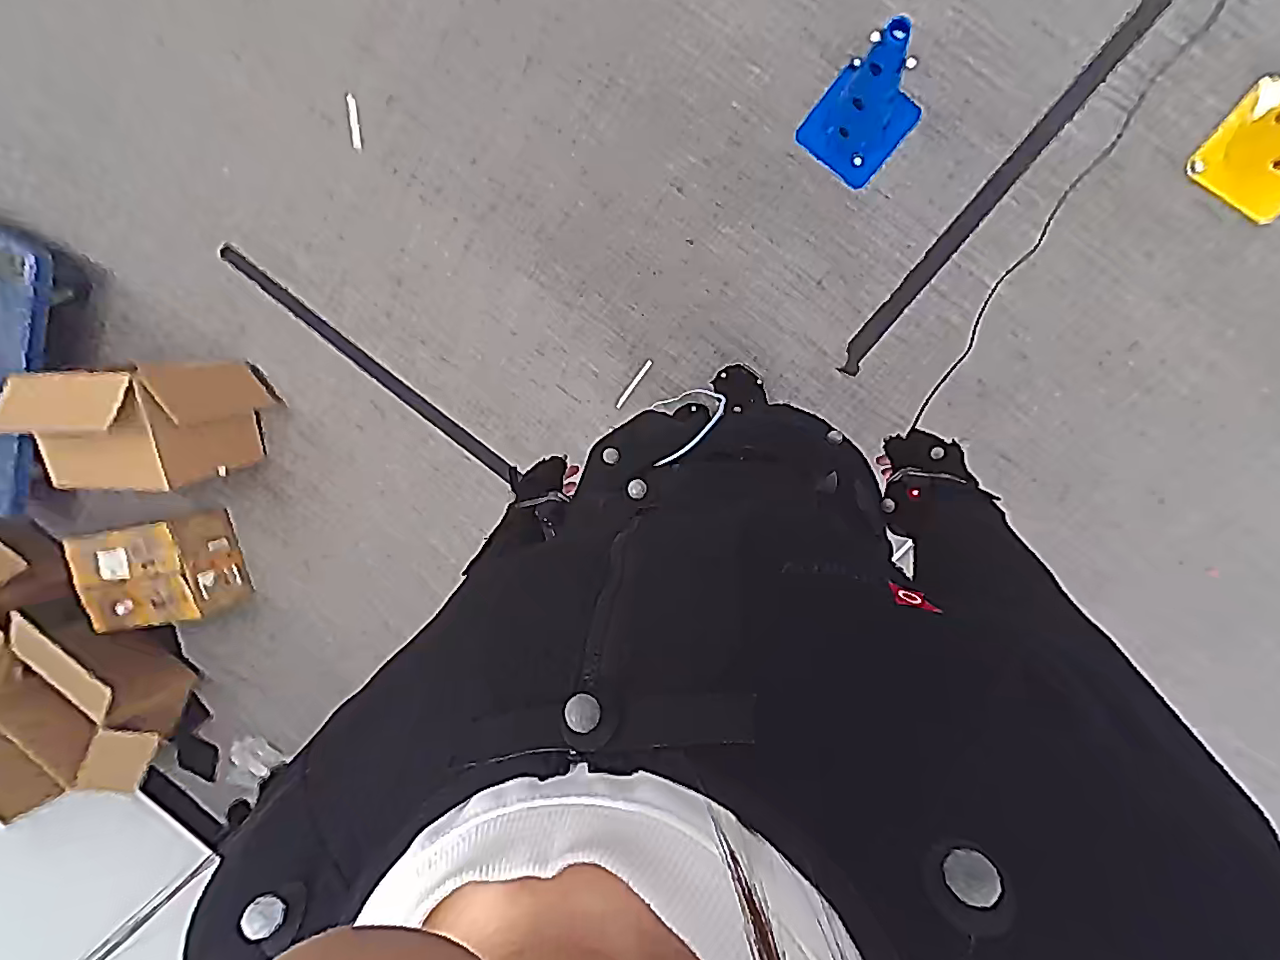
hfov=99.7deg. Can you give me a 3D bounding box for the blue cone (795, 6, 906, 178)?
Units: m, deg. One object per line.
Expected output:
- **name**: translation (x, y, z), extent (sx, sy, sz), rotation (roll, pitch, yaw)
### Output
- **blue cone**: translation (0.430, -0.764, 1.037), extent (0.192, 0.380, 0.193), rotation (42, 106, 2)
